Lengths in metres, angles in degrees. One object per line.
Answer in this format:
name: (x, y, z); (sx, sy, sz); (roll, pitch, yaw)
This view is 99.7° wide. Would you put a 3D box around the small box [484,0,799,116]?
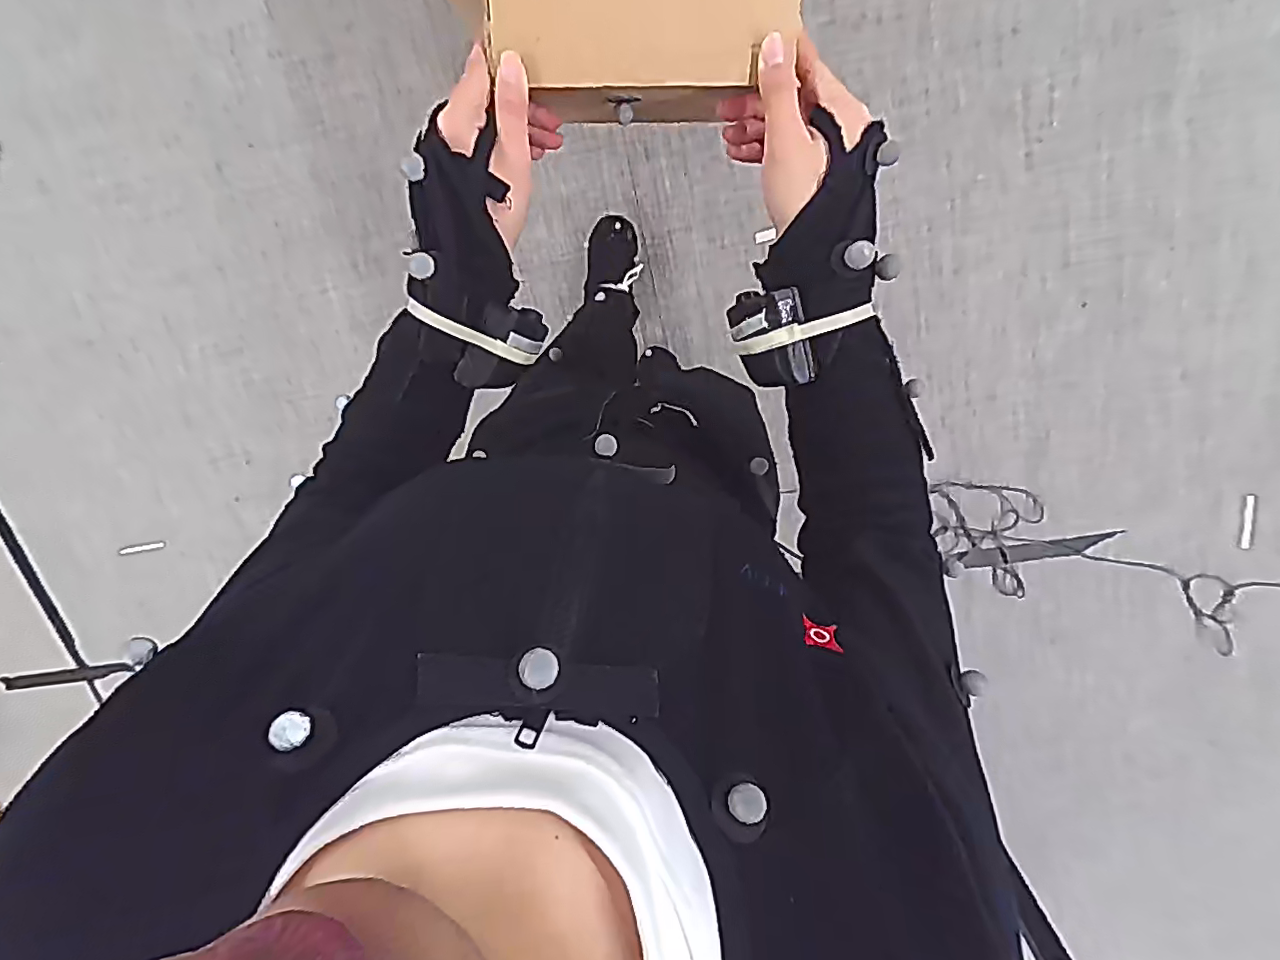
small box: (0.003, -0.342, 0.346); (0.179, 0.176, 0.168); (0, 117, 1)
